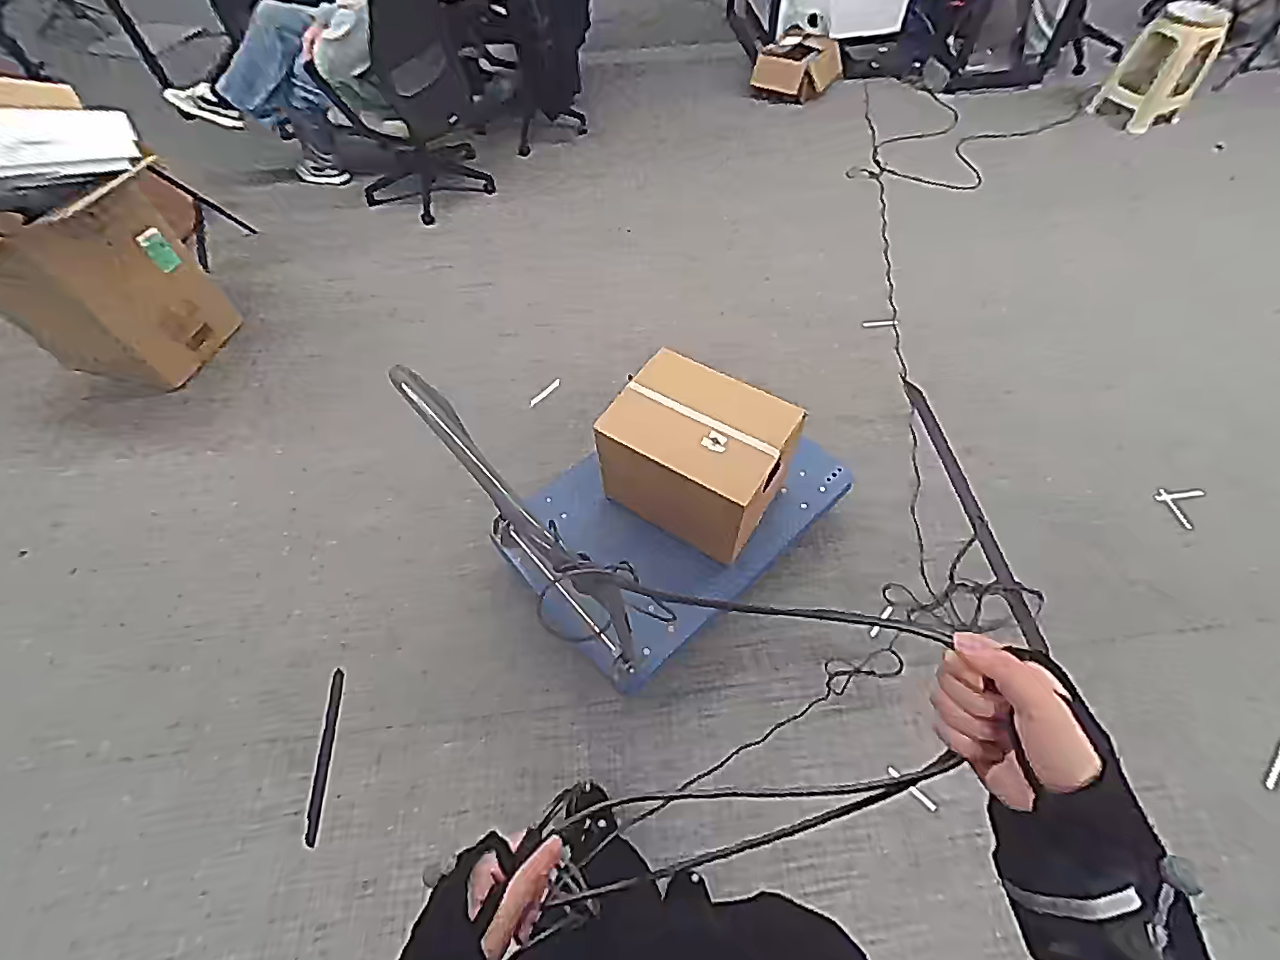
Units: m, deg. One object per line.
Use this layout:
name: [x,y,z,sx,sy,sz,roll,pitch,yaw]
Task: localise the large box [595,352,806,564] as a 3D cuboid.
large box: [0.141,-0.055,1.376,0.408,0.320,0.320,29,63,18]
